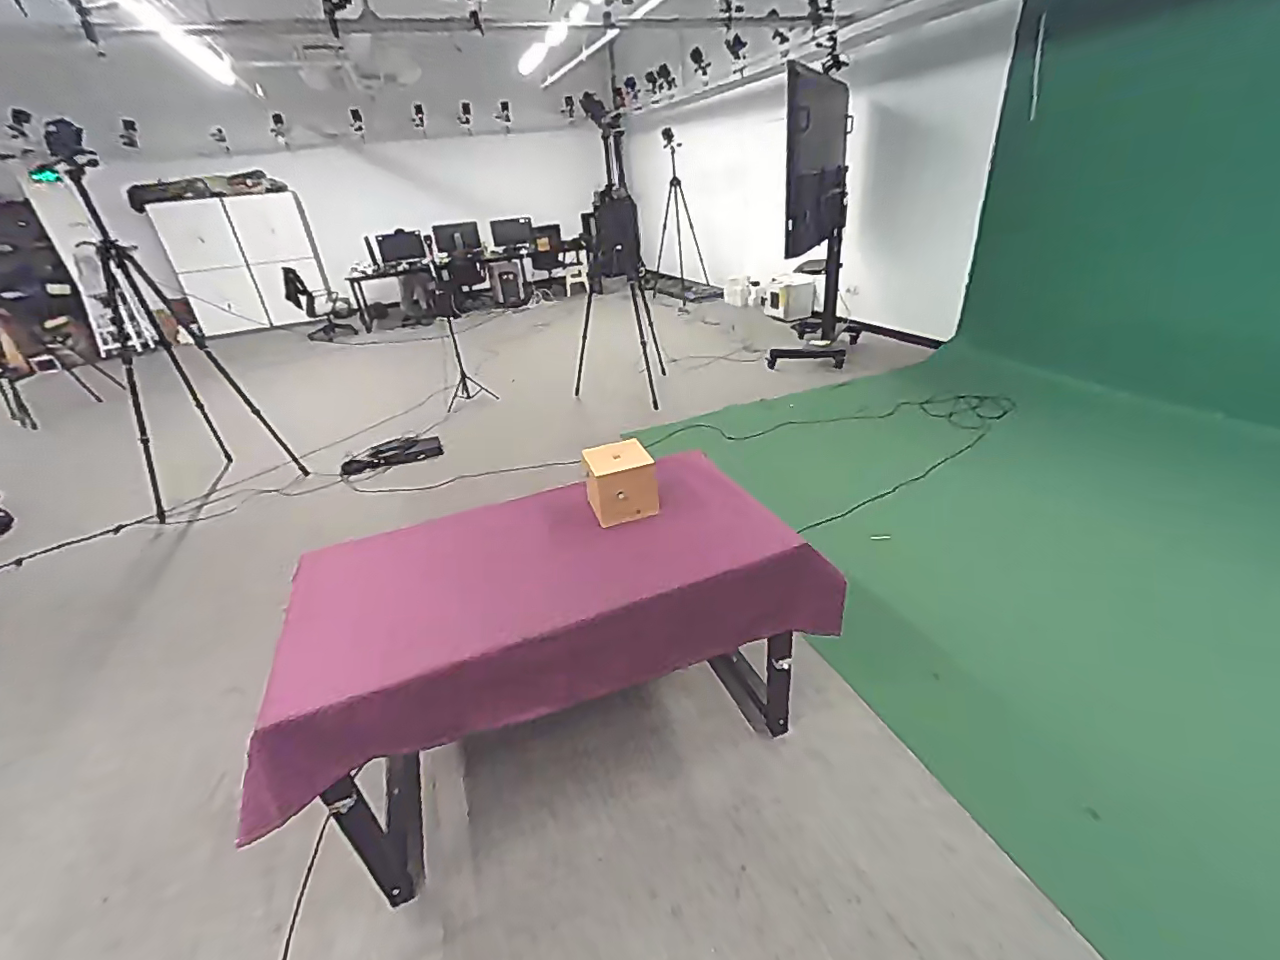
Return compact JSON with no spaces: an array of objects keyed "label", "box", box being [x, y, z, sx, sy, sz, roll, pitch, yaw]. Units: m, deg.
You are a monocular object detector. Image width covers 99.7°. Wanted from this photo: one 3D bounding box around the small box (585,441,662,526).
[{"label":"small box","box":[-0.046,0.015,1.519,0.168,0.176,0.179,-14,29,-13]}]
